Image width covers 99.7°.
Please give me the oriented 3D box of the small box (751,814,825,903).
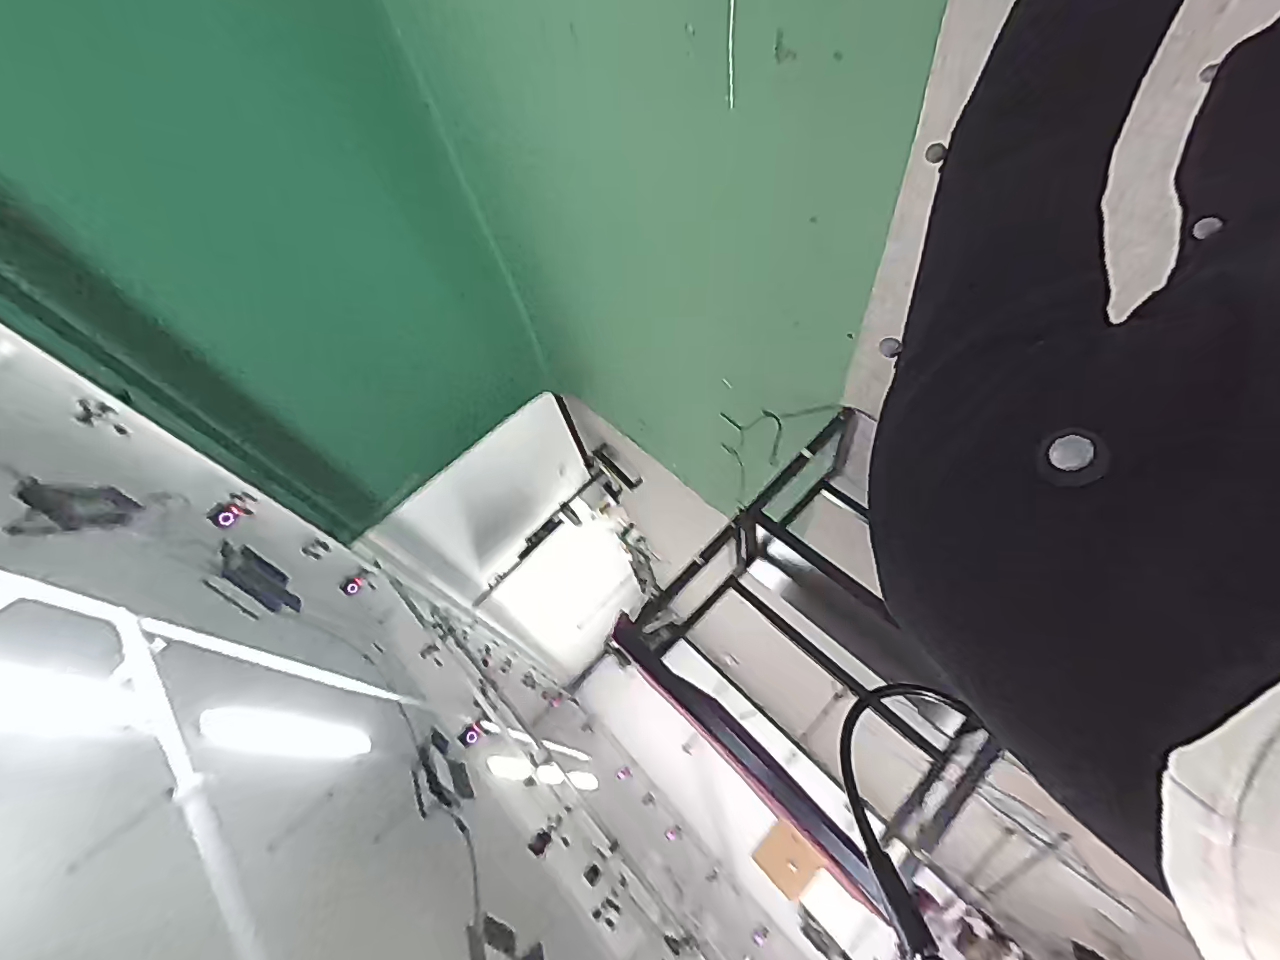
[{"bbox_3d":[0.480,1.223,1.760,0.168,0.176,0.179,39,165,28],"label":"small box"}]
